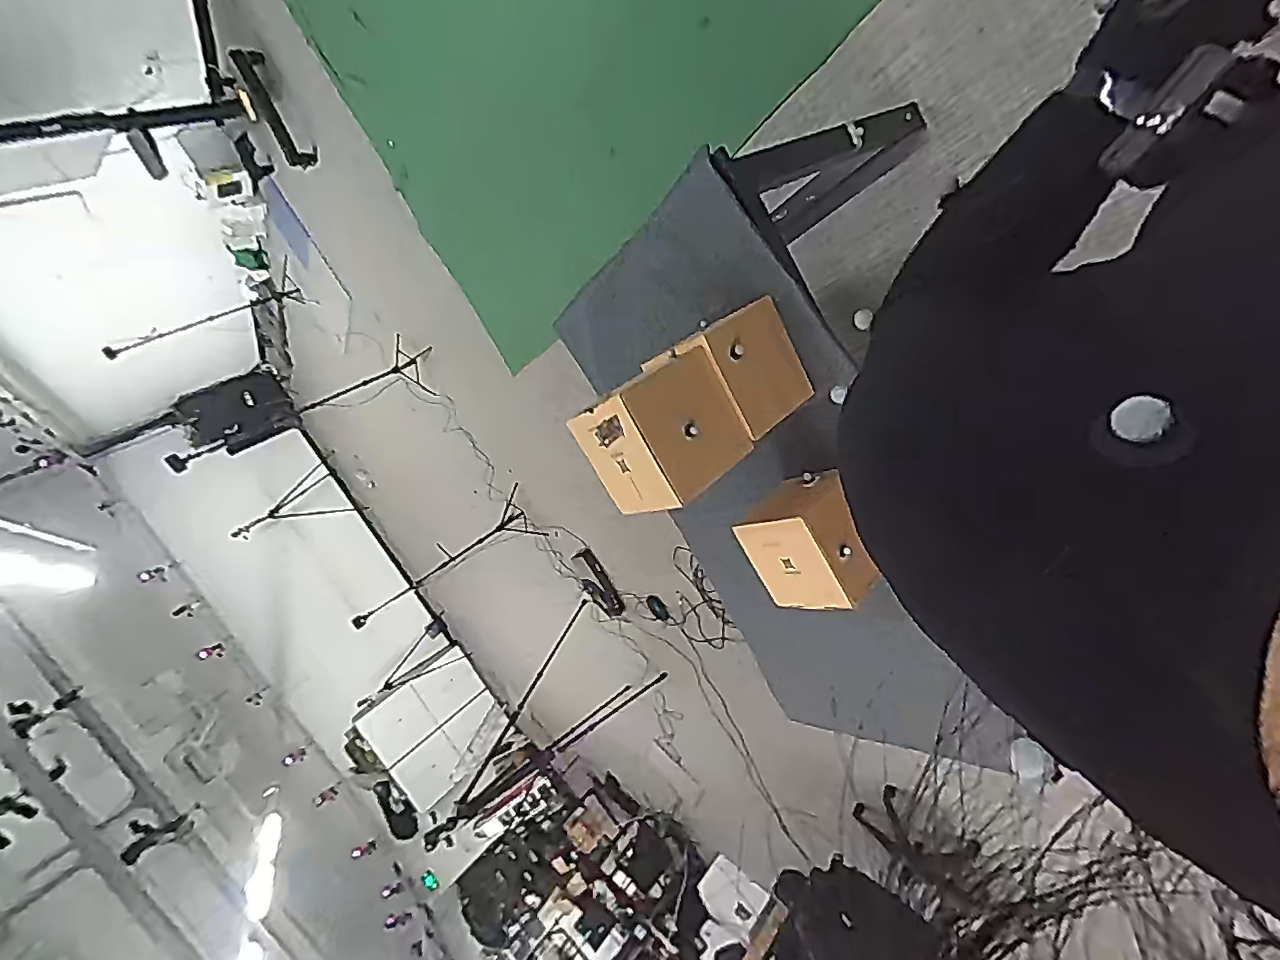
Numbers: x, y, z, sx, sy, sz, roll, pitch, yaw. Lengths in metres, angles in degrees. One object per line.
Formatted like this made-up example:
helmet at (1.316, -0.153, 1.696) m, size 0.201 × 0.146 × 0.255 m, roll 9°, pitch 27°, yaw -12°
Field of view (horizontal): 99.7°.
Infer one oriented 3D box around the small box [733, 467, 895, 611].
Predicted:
small box at (0.302, 0.103, 0.929) m, size 0.168 × 0.176 × 0.179 m, roll -20°, pitch 103°, yaw 56°

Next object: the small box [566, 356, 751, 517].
small box at (0.029, -0.066, 0.802) m, size 0.168 × 0.176 × 0.179 m, roll -13°, pitch 112°, yaw 56°

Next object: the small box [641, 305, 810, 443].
small box at (0.140, -0.163, 0.876) m, size 0.168 × 0.176 × 0.179 m, roll -10°, pitch 113°, yaw 56°
